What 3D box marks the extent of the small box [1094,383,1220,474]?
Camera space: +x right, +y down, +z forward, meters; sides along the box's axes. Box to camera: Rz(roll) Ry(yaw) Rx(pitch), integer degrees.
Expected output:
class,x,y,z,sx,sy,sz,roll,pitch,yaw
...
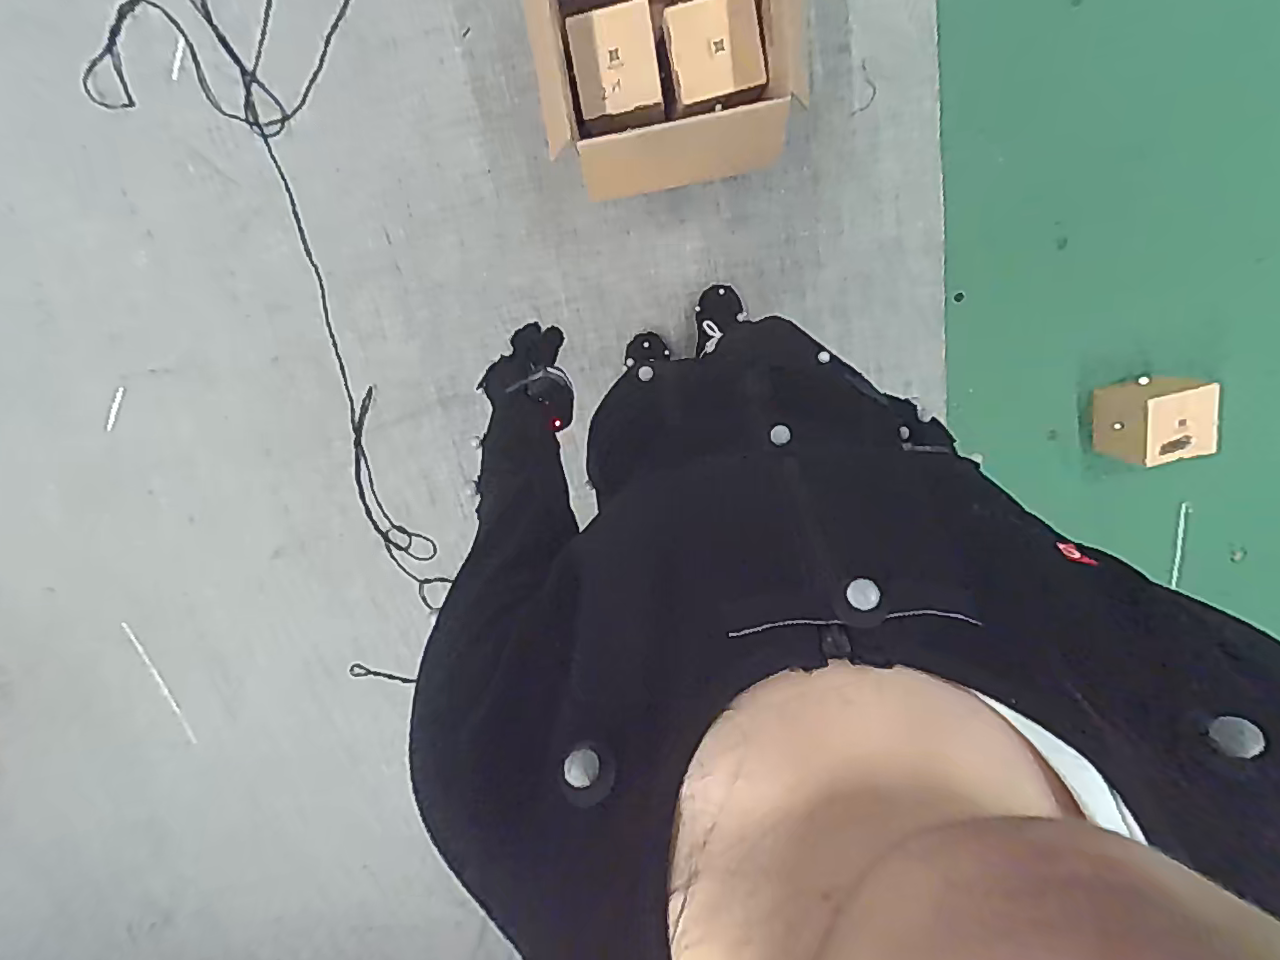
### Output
class,x,y,z,sx,sy,sz,roll,pitch,yaw
small box,1.297,-0.135,1.370,0.168,0.176,0.179,-13,106,5
